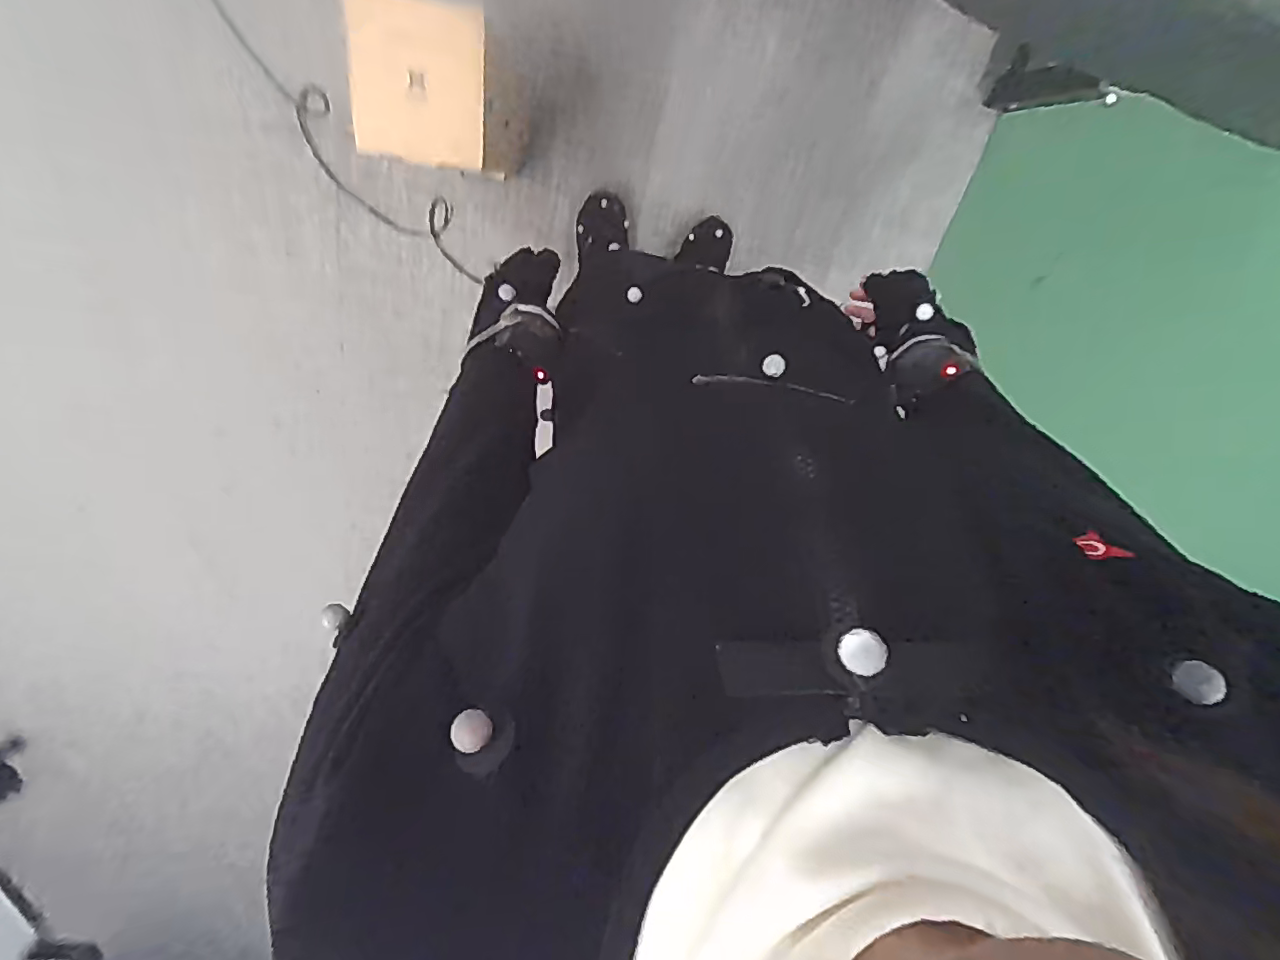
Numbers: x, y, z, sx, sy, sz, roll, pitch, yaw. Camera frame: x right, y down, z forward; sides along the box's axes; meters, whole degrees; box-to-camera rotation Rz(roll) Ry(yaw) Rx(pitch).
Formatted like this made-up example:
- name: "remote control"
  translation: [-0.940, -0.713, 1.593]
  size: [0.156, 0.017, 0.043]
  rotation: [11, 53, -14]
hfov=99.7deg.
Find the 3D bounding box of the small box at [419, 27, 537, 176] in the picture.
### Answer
- name: "small box"
  translation: [-0.300, -0.706, 1.029]
  size: [0.168, 0.176, 0.179]
  rotation: [18, 118, -13]
